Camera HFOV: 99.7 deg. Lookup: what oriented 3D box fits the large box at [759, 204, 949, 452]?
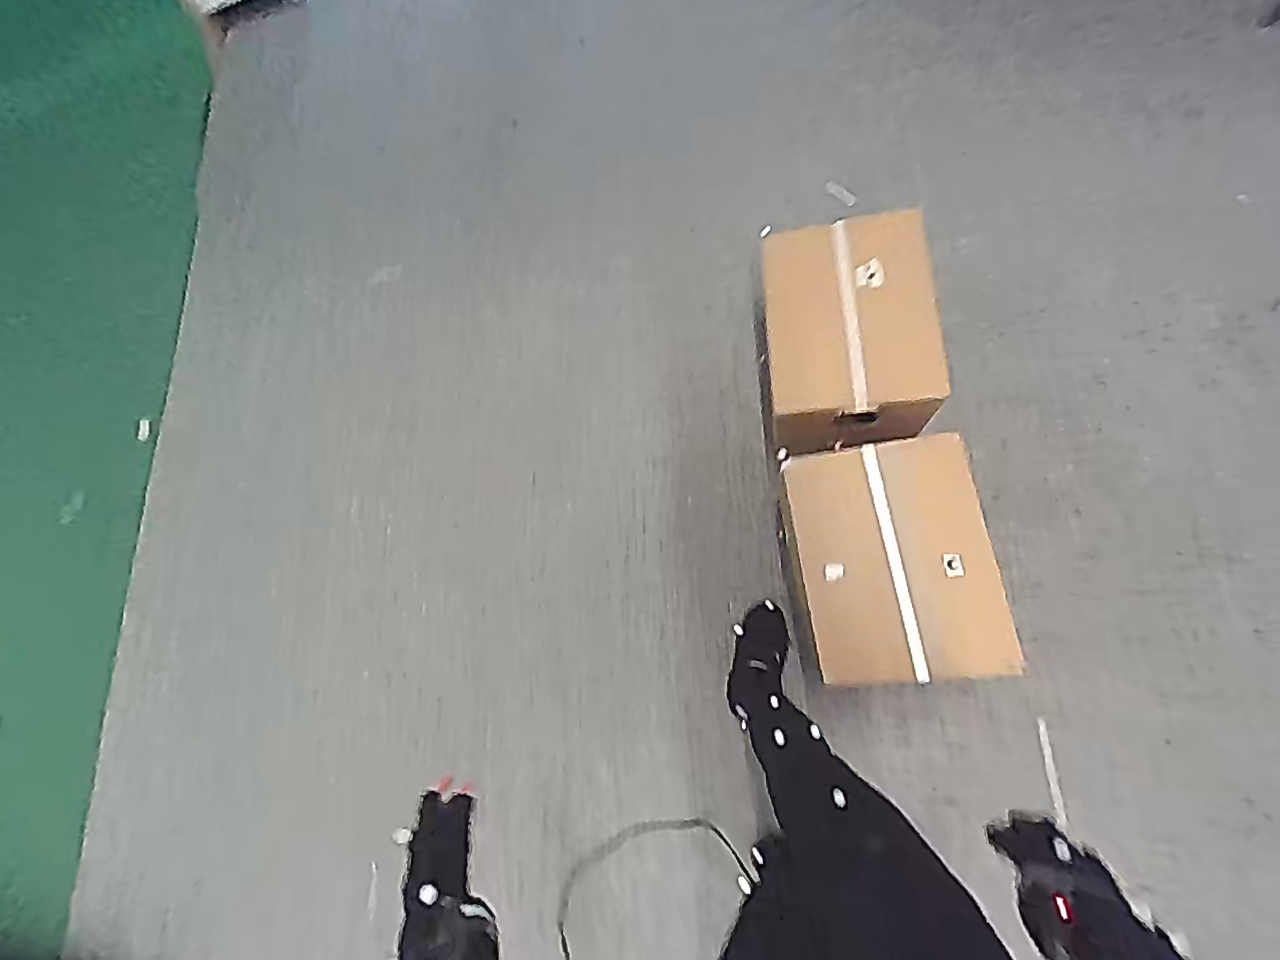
[{"bbox_3d":[0.442,-0.305,1.192,0.320,0.320,0.408,-4,75,13],"label":"large box"}]
